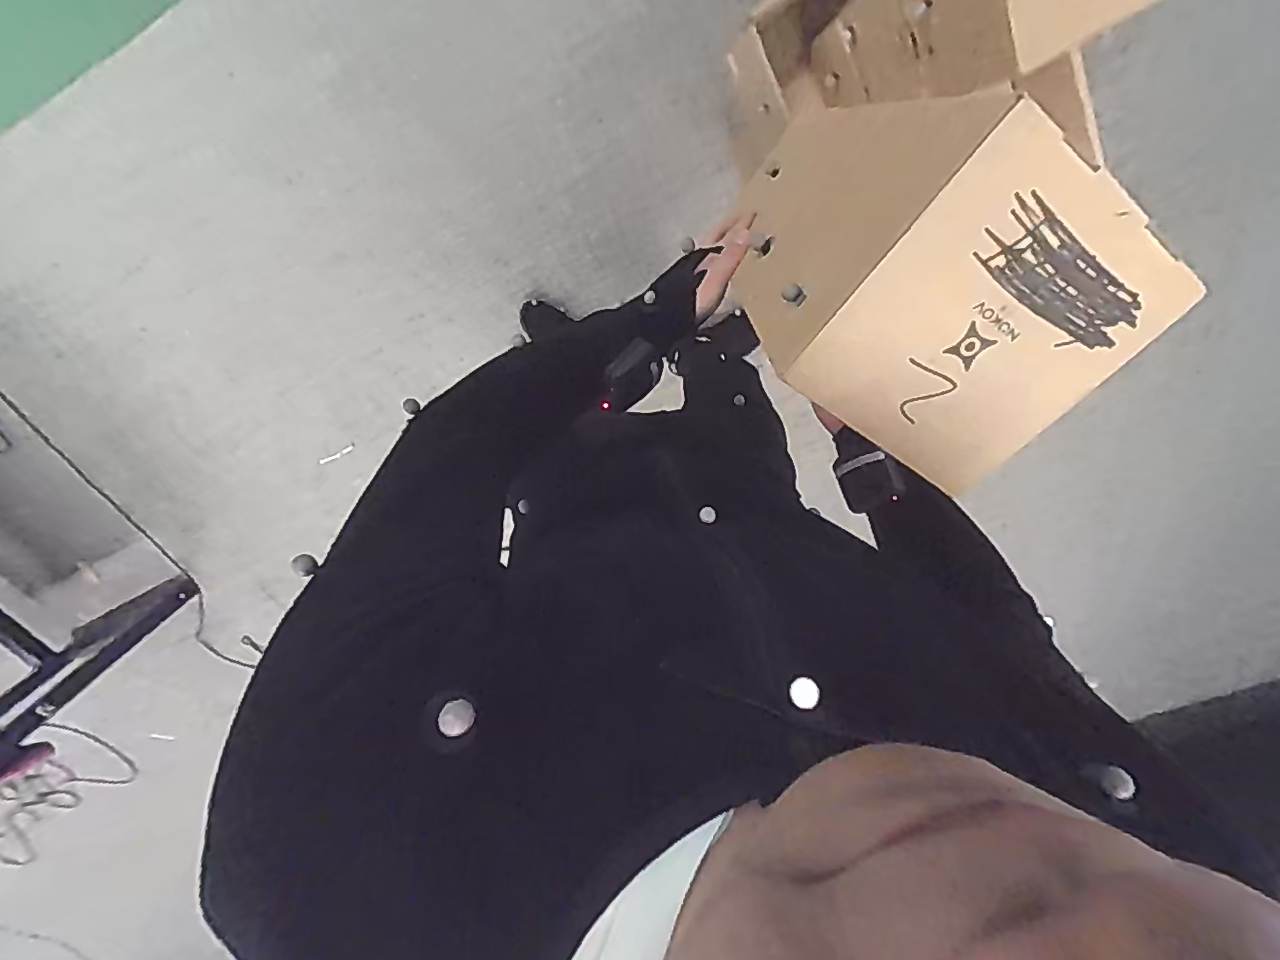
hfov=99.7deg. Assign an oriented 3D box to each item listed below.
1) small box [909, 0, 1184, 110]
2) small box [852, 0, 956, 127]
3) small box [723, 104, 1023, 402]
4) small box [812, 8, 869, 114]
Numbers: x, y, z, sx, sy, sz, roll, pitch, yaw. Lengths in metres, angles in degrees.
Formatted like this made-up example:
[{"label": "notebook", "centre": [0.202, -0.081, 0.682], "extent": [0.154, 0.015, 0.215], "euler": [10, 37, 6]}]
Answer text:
[{"label": "small box", "centre": [0.392, -0.501, 0.525], "extent": [0.179, 0.176, 0.168], "euler": [-24, 113, 10]}, {"label": "small box", "centre": [0.387, -0.564, 0.675], "extent": [0.179, 0.176, 0.168], "euler": [-26, 113, 9]}, {"label": "small box", "centre": [0.193, -0.212, 0.511], "extent": [0.168, 0.176, 0.179], "euler": [29, 118, -18]}, {"label": "small box", "centre": [0.382, -0.636, 0.823], "extent": [0.179, 0.176, 0.168], "euler": [-30, 112, 11]}]
